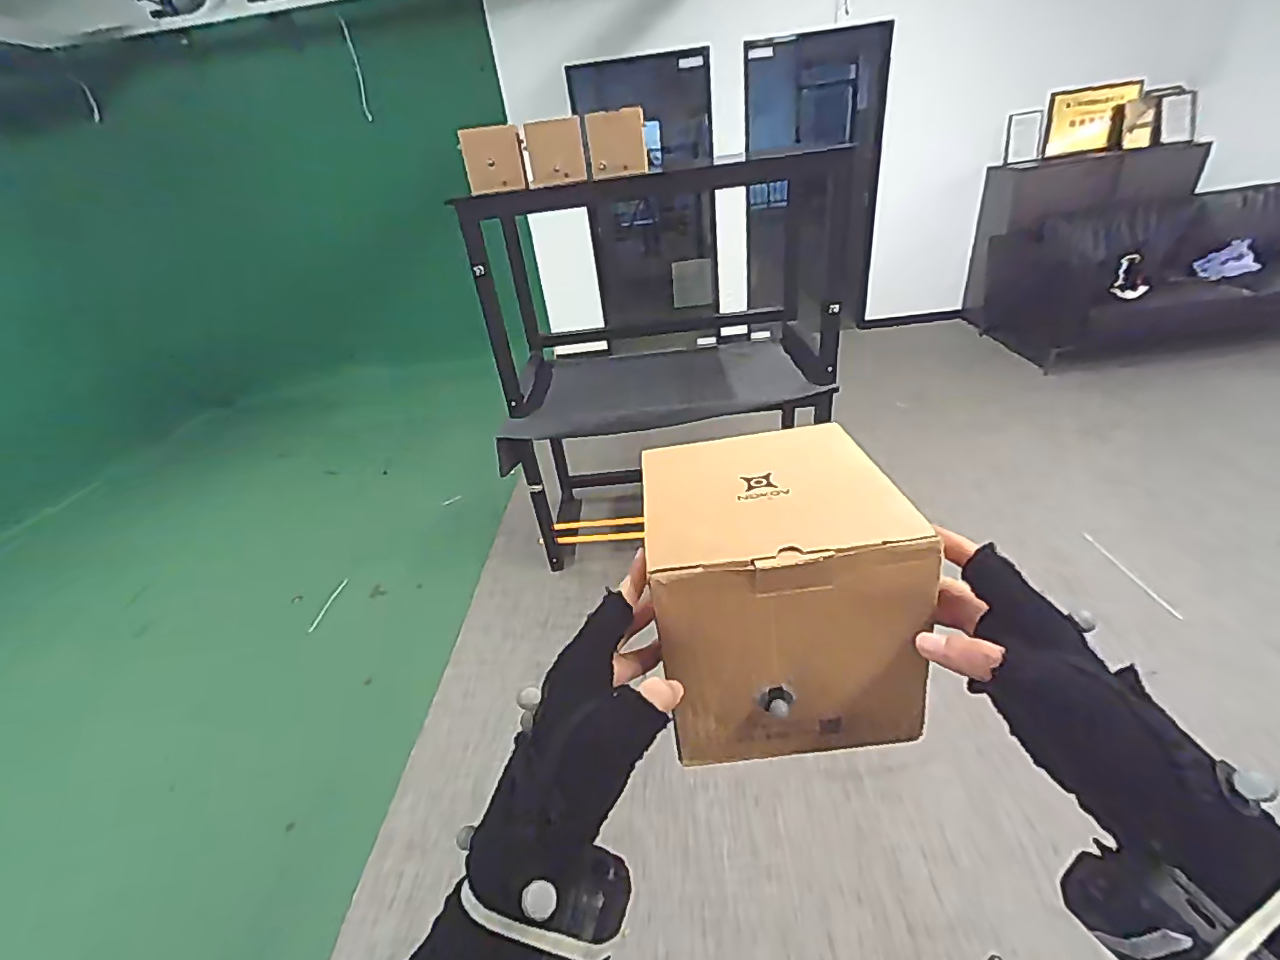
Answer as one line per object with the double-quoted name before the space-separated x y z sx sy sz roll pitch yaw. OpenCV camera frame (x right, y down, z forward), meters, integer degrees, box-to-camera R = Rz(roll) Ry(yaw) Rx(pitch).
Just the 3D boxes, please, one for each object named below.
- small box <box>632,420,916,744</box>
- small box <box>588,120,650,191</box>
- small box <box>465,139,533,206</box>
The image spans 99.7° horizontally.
"small box" 0.088 0.069 0.420 0.168 0.176 0.179 -8 26 3
"small box" -0.058 -1.012 1.695 0.168 0.176 0.179 -4 30 6
"small box" -0.438 -0.970 1.713 0.168 0.176 0.179 -8 30 -3
